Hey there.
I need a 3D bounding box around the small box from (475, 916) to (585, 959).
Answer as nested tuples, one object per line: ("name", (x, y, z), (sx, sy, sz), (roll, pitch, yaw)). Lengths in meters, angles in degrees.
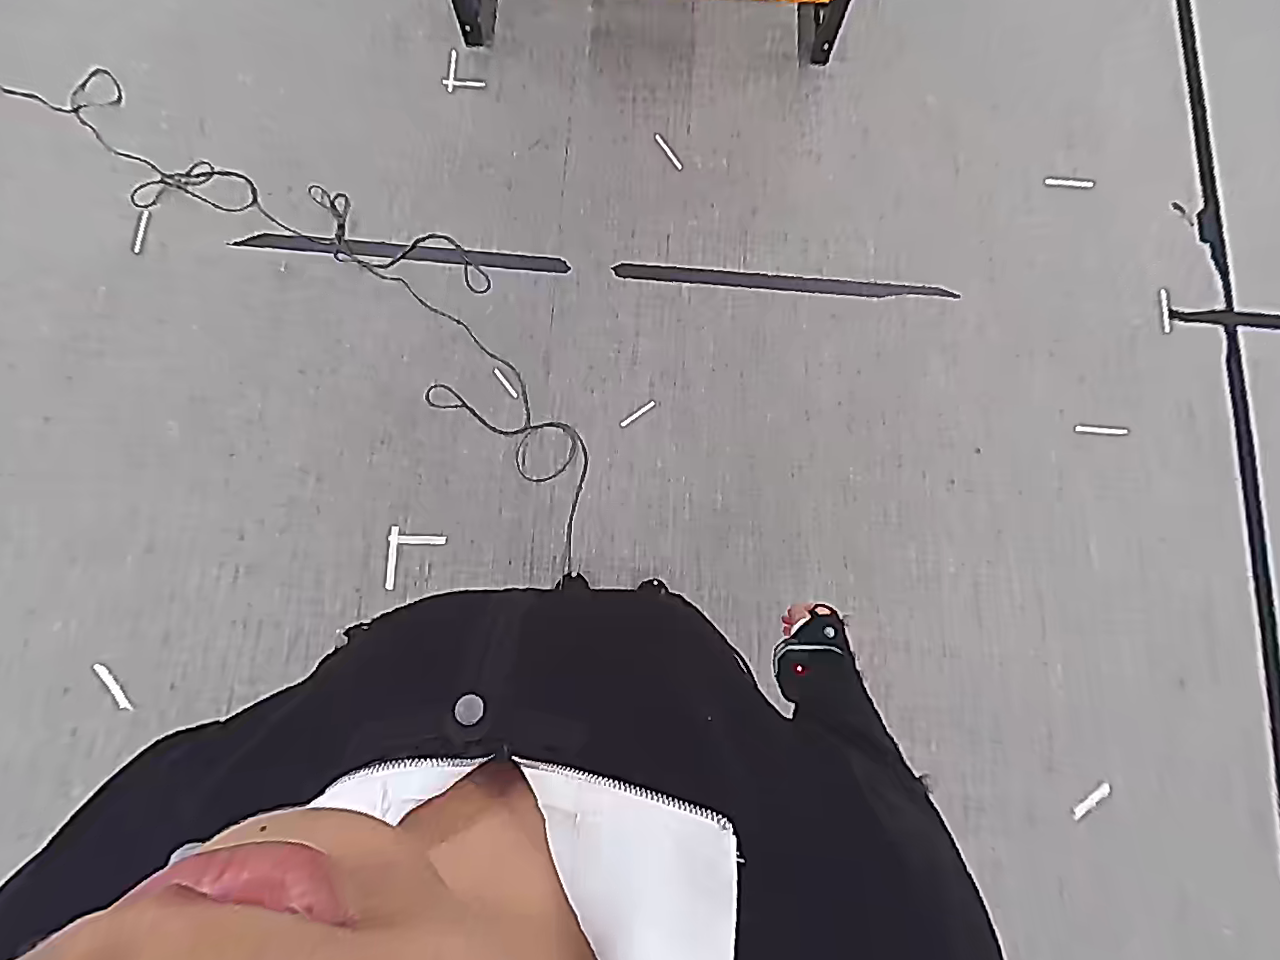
("small box", (-0.173, 0.818, 0.828), (0.168, 0.176, 0.179), (2, 77, -2))
